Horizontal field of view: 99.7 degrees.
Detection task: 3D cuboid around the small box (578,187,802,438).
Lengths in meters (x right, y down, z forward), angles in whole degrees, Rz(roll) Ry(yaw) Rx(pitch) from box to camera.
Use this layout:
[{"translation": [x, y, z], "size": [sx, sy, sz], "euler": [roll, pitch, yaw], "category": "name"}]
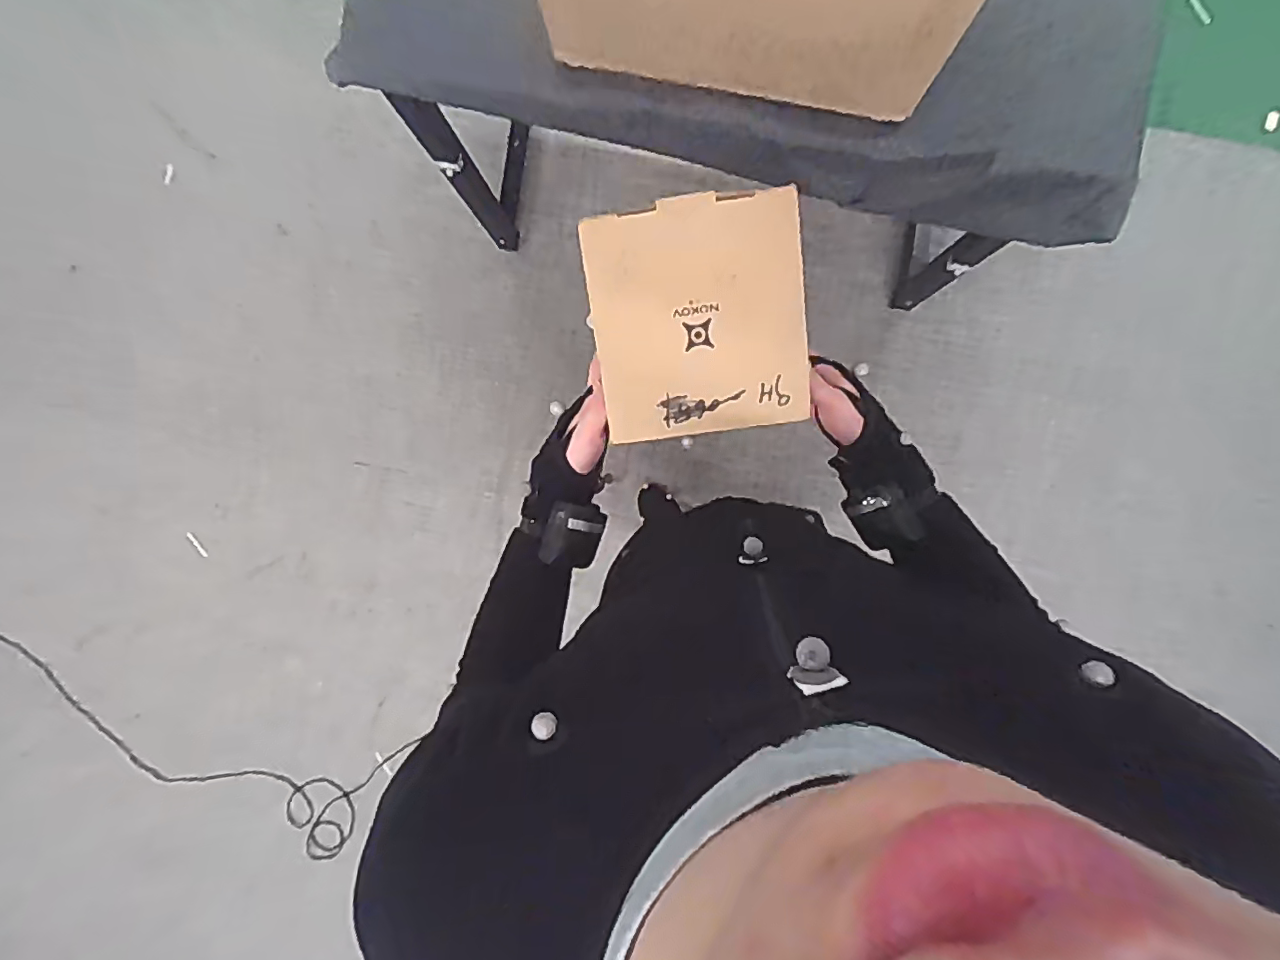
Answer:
[{"translation": [0.045, -0.144, 0.500], "size": [0.168, 0.176, 0.179], "euler": [-6, 104, 5], "category": "small box"}]
